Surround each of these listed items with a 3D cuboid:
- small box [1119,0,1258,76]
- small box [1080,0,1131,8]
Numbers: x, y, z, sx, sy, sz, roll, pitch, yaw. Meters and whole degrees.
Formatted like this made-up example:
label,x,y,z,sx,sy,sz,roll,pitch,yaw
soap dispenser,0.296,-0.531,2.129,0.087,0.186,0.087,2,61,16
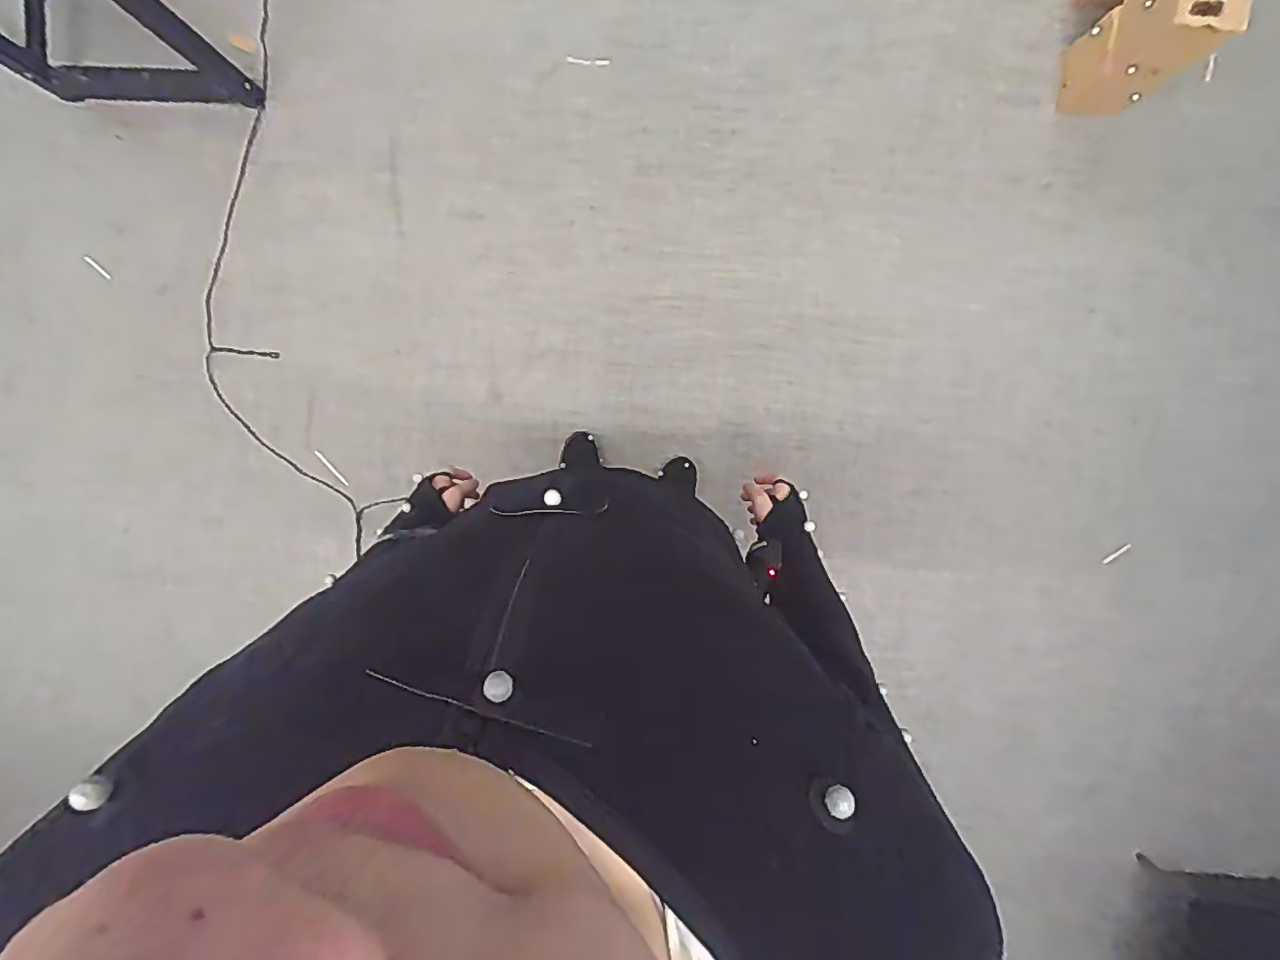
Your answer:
label,x,y,z,sx,sy,sz,roll,pitch,yaw
small box,1.286,-1.097,1.270,0.168,0.176,0.179,7,95,-1
small box,1.294,-1.384,1.408,0.179,0.176,0.168,6,96,1
